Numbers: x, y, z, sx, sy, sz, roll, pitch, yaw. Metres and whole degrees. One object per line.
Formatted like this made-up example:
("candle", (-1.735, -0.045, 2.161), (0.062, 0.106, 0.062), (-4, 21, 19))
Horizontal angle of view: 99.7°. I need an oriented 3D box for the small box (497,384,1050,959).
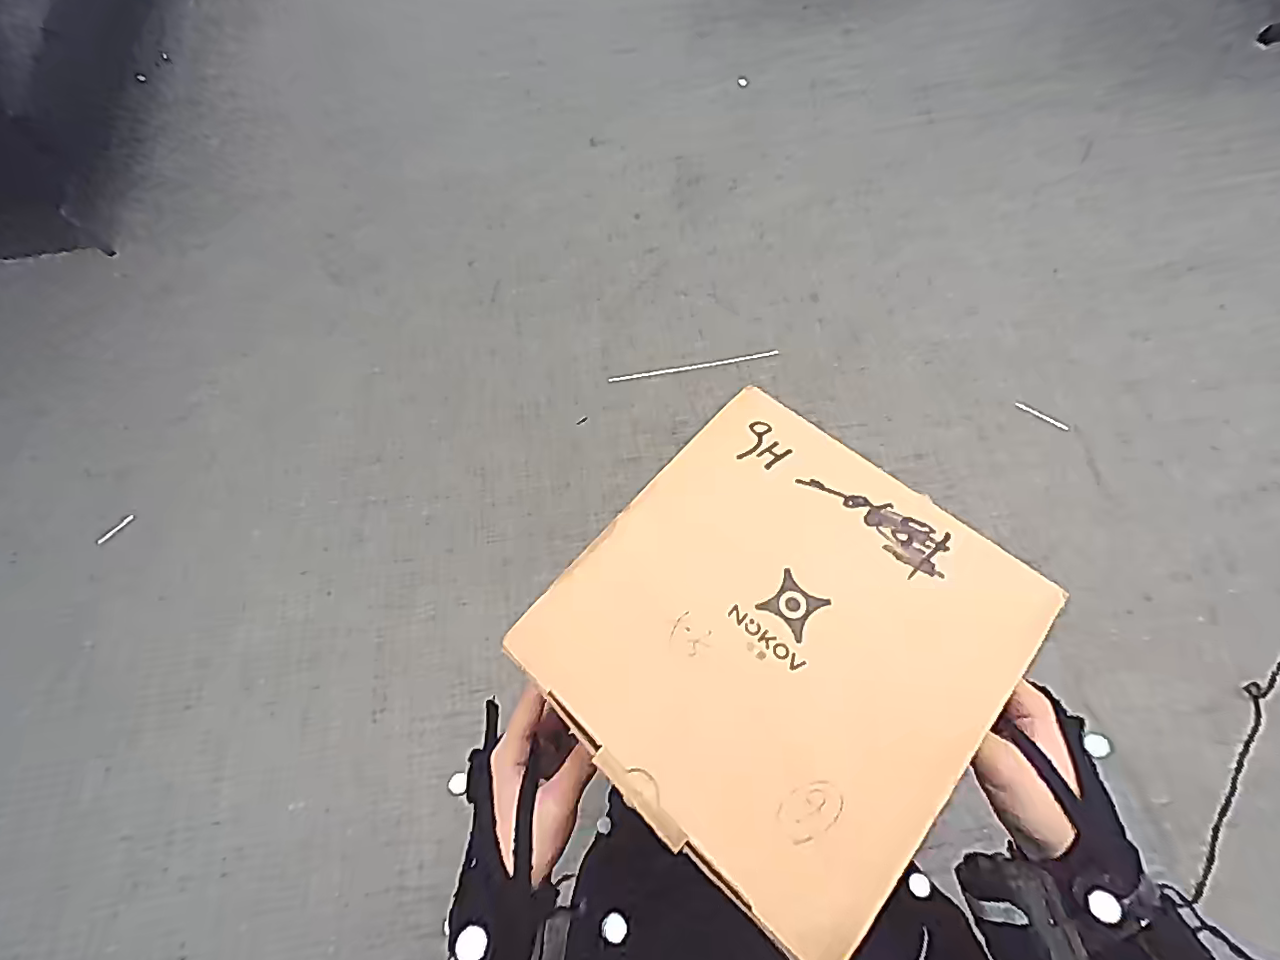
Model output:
("small box", (0.060, 0.090, 0.299), (0.168, 0.176, 0.179), (39, 74, 20))
